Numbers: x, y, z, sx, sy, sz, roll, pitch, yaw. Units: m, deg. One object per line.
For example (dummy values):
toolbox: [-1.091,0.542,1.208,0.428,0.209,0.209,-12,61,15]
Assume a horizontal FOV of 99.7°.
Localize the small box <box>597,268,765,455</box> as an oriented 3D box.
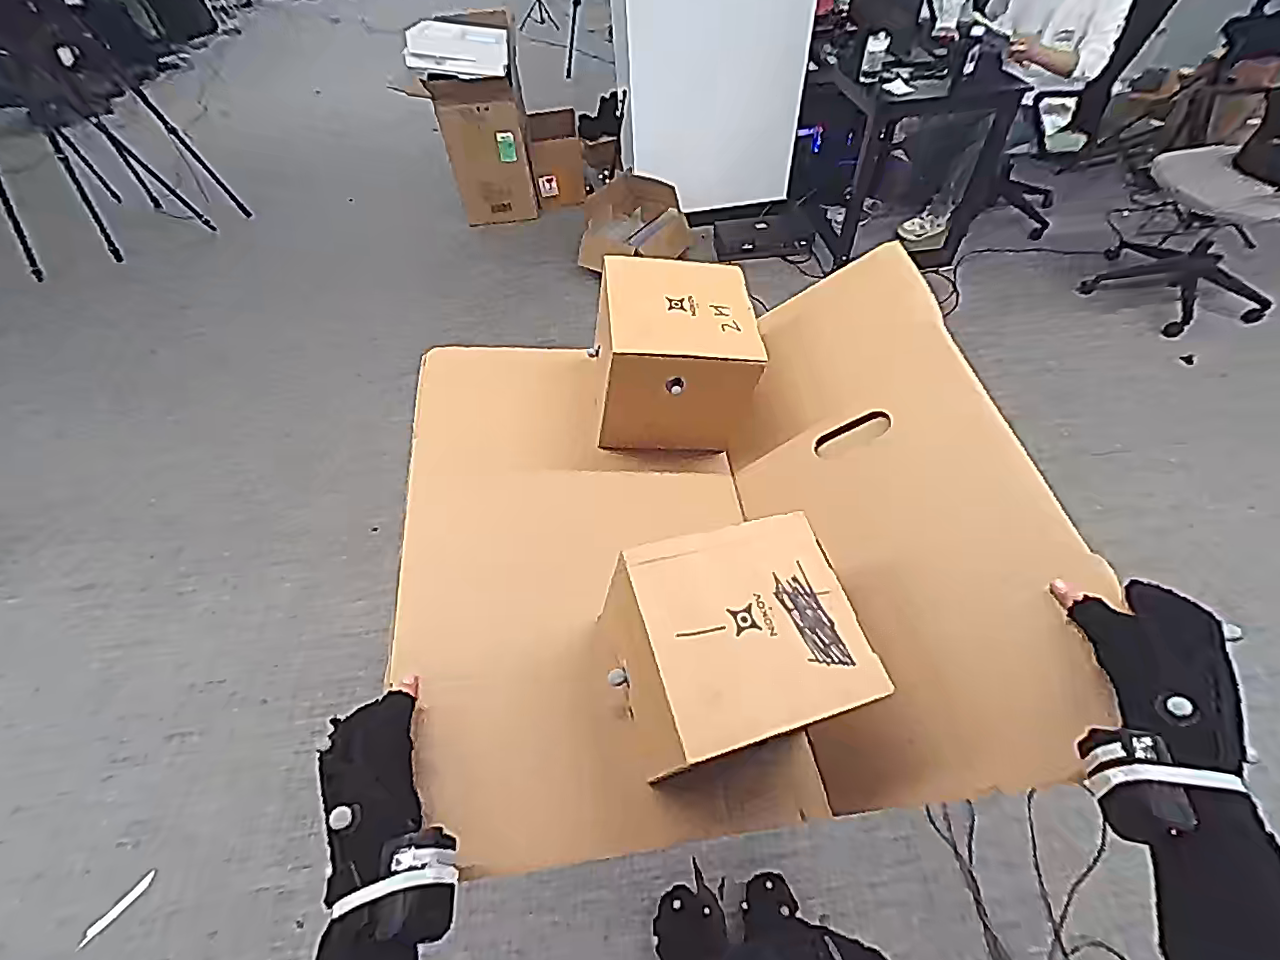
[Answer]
small box: [0.037,-0.145,0.695,0.179,0.176,0.168,2,57,-10]
